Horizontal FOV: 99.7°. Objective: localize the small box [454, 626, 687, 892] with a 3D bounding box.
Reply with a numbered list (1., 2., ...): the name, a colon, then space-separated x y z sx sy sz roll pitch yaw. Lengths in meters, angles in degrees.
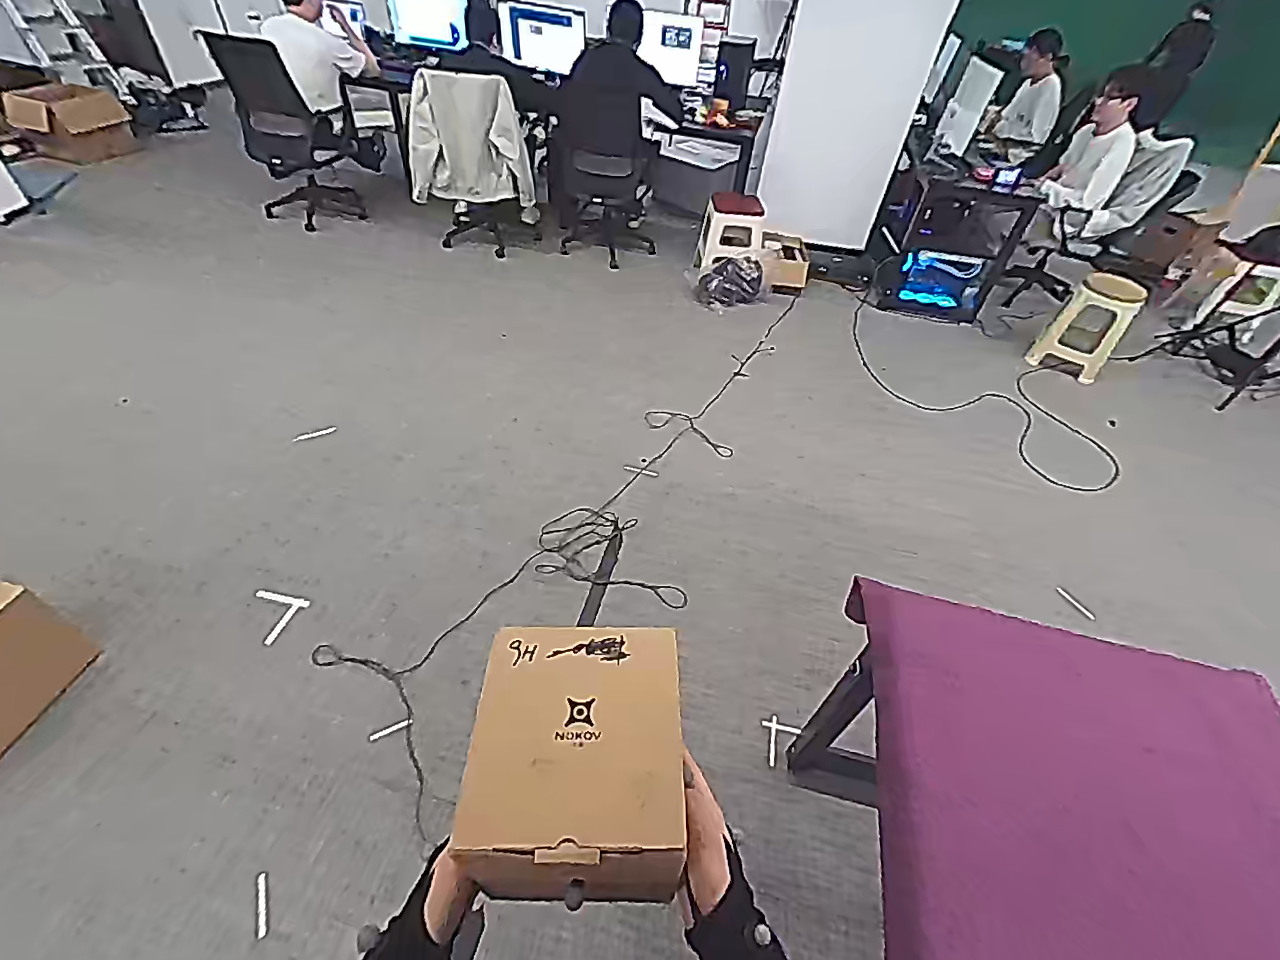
1. small box: -0.047 0.250 0.484 0.168 0.176 0.179 0 44 -1
